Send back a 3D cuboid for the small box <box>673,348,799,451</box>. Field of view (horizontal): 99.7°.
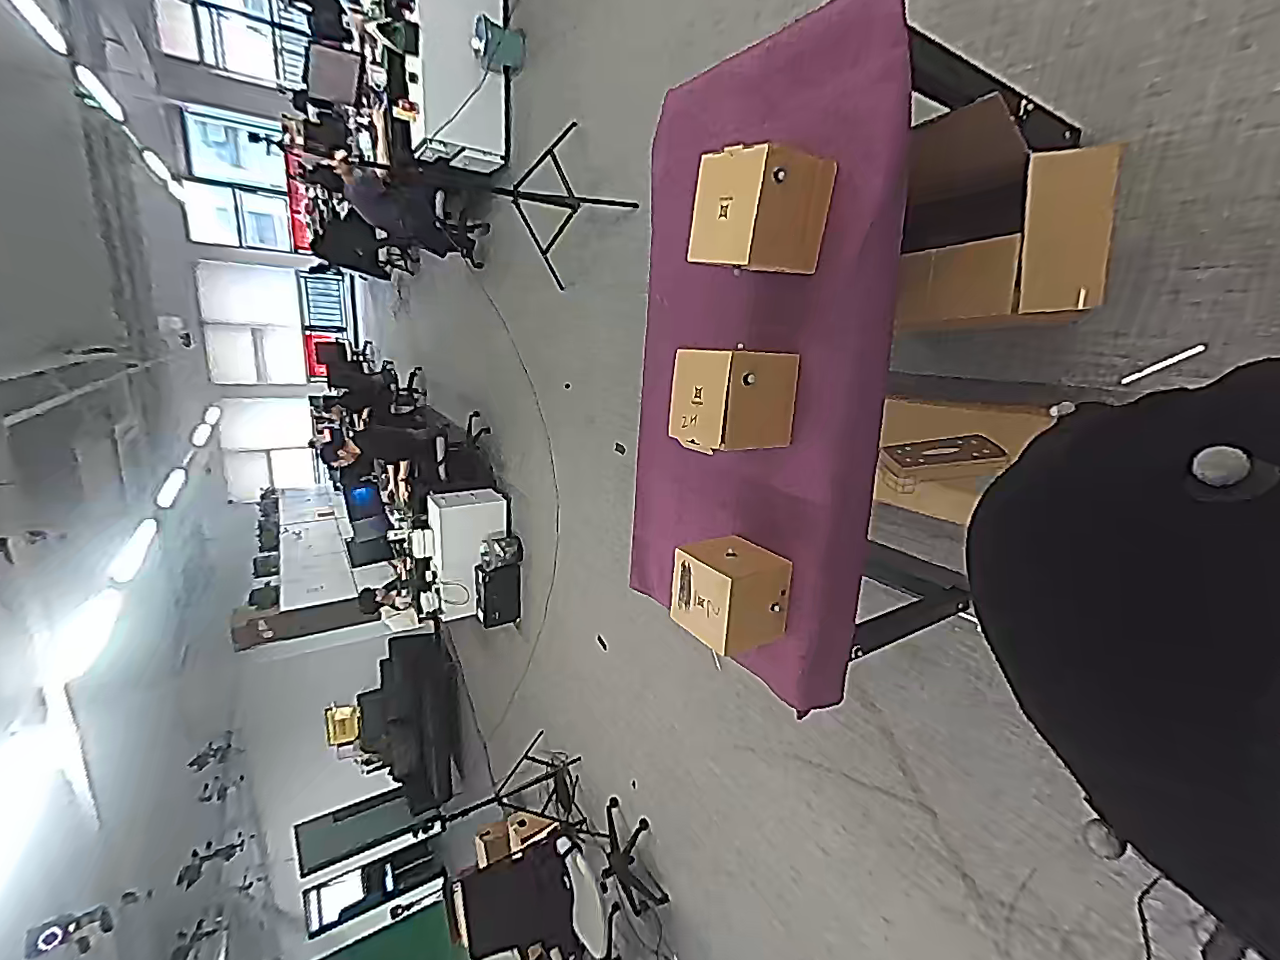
[{"bbox_3d":[0.183,-0.159,1.038,0.168,0.176,0.179,24,116,56],"label":"small box"}]

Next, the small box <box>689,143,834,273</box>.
[{"bbox_3d":[0.210,-0.461,0.941,0.168,0.176,0.179,33,122,51],"label":"small box"}]
